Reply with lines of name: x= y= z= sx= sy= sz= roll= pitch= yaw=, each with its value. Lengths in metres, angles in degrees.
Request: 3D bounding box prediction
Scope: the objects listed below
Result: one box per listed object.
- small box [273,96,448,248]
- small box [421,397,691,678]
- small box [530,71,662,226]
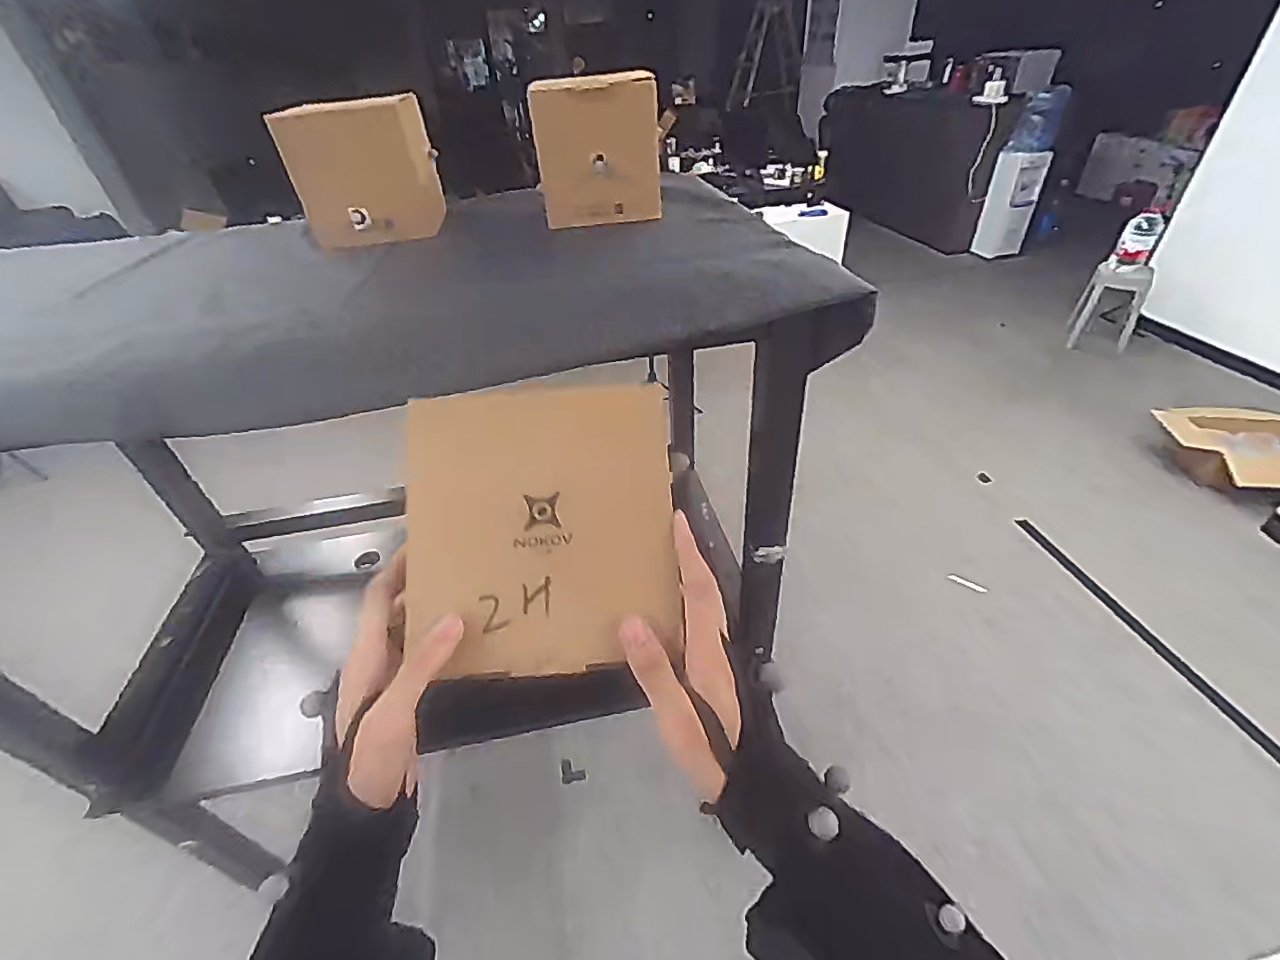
small box: x=-0.396 y=-0.460 z=0.807 sx=0.168 sy=0.176 sz=0.179 roll=-10 pitch=39 yaw=-5
small box: x=-0.056 y=0.049 z=0.421 sx=0.168 sy=0.176 sz=0.179 roll=-3 pitch=78 yaw=-2
small box: x=-0.059 y=-0.485 z=0.800 sx=0.168 sy=0.176 sz=0.179 roll=-6 pitch=41 yaw=-1
